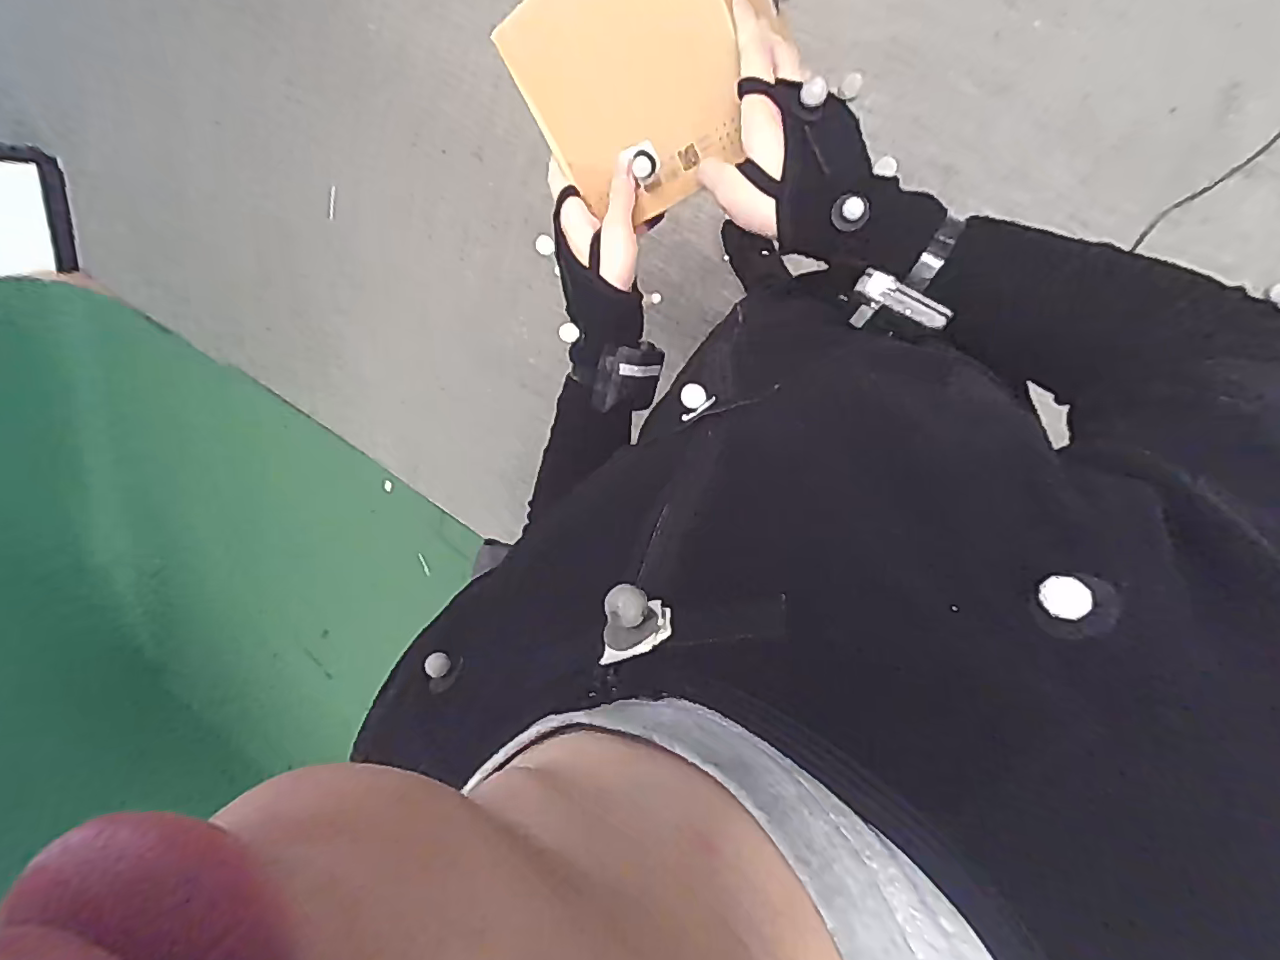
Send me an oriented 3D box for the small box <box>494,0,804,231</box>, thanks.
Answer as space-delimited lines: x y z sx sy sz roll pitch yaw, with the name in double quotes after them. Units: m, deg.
0.023 -0.336 0.449 0.168 0.179 0.176 -12 122 36 "small box"
